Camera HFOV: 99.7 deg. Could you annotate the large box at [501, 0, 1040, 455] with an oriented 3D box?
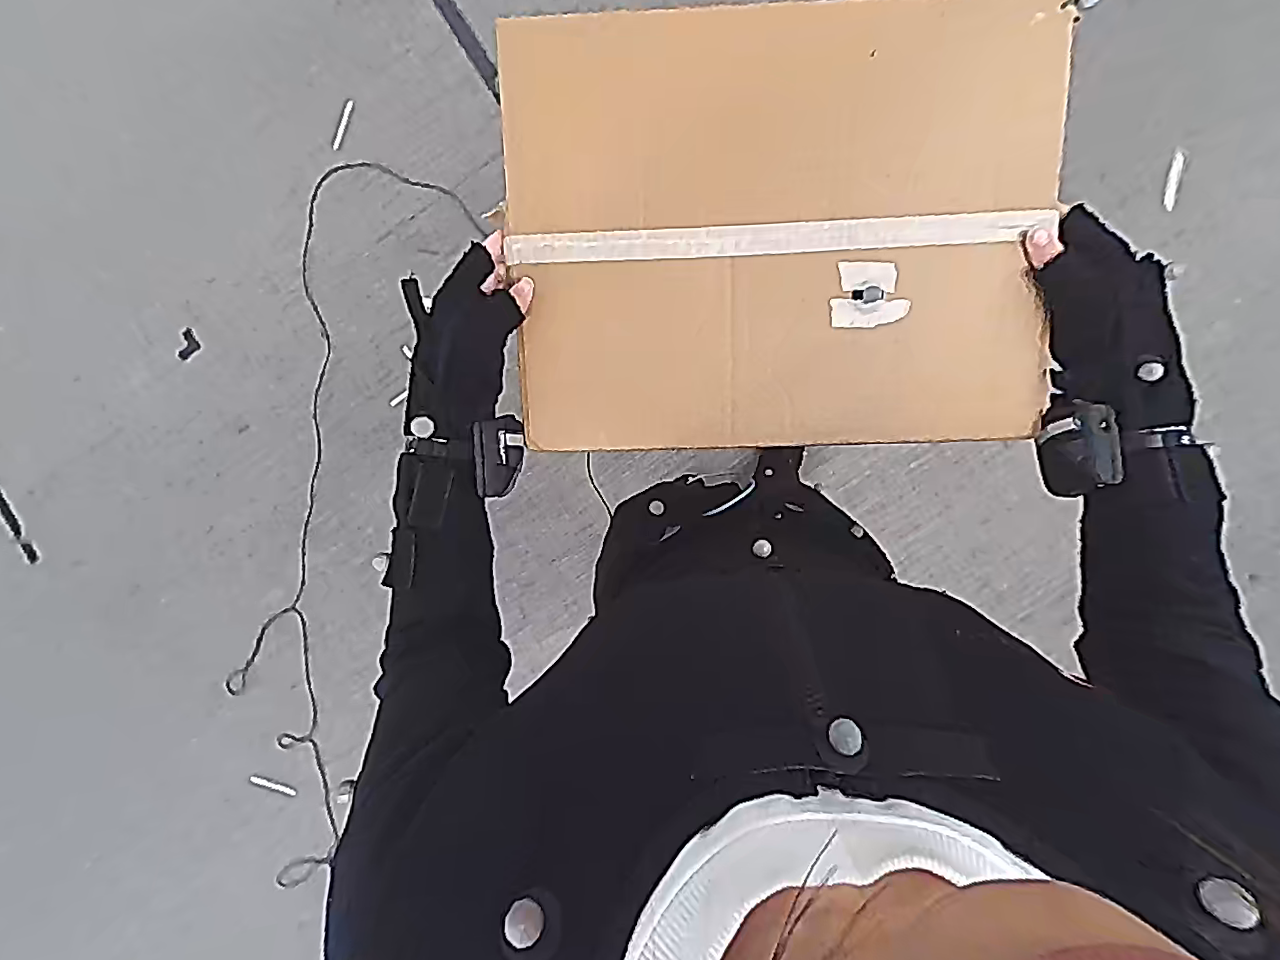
[{"bbox_3d":[0.104,-0.207,0.566,0.408,0.320,0.320,-3,100,2],"label":"large box"}]
